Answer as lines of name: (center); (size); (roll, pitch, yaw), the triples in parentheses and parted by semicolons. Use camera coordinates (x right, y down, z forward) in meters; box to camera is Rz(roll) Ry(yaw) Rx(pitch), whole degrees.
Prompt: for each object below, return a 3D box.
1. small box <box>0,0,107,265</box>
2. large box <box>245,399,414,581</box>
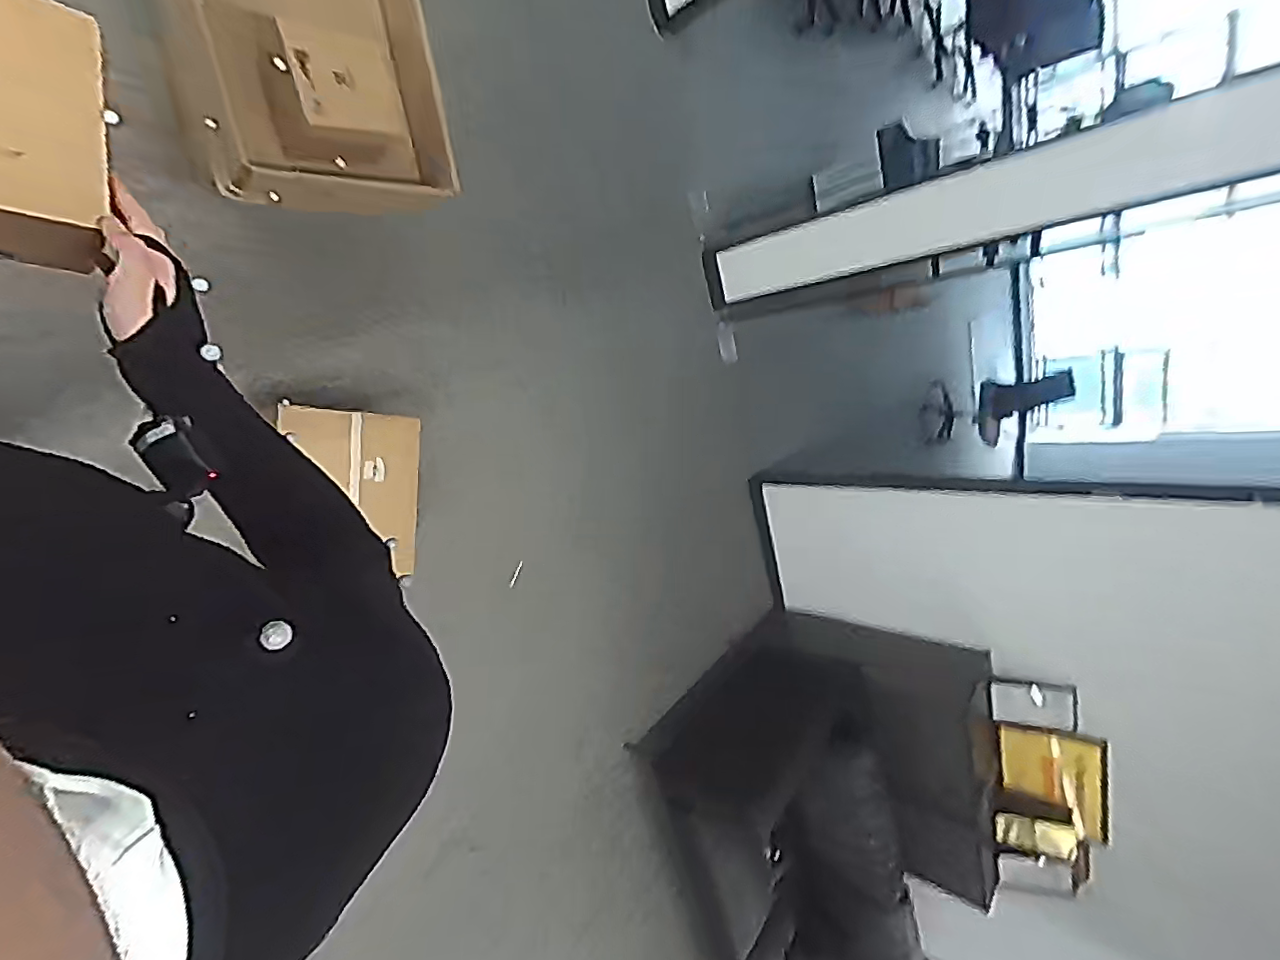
small box: (-0.562, -0.298, 0.439); (0.168, 0.176, 0.179); (-5, 96, -49)
large box: (-0.795, 0.021, 1.379); (0.320, 0.320, 0.408); (2, 90, -46)
